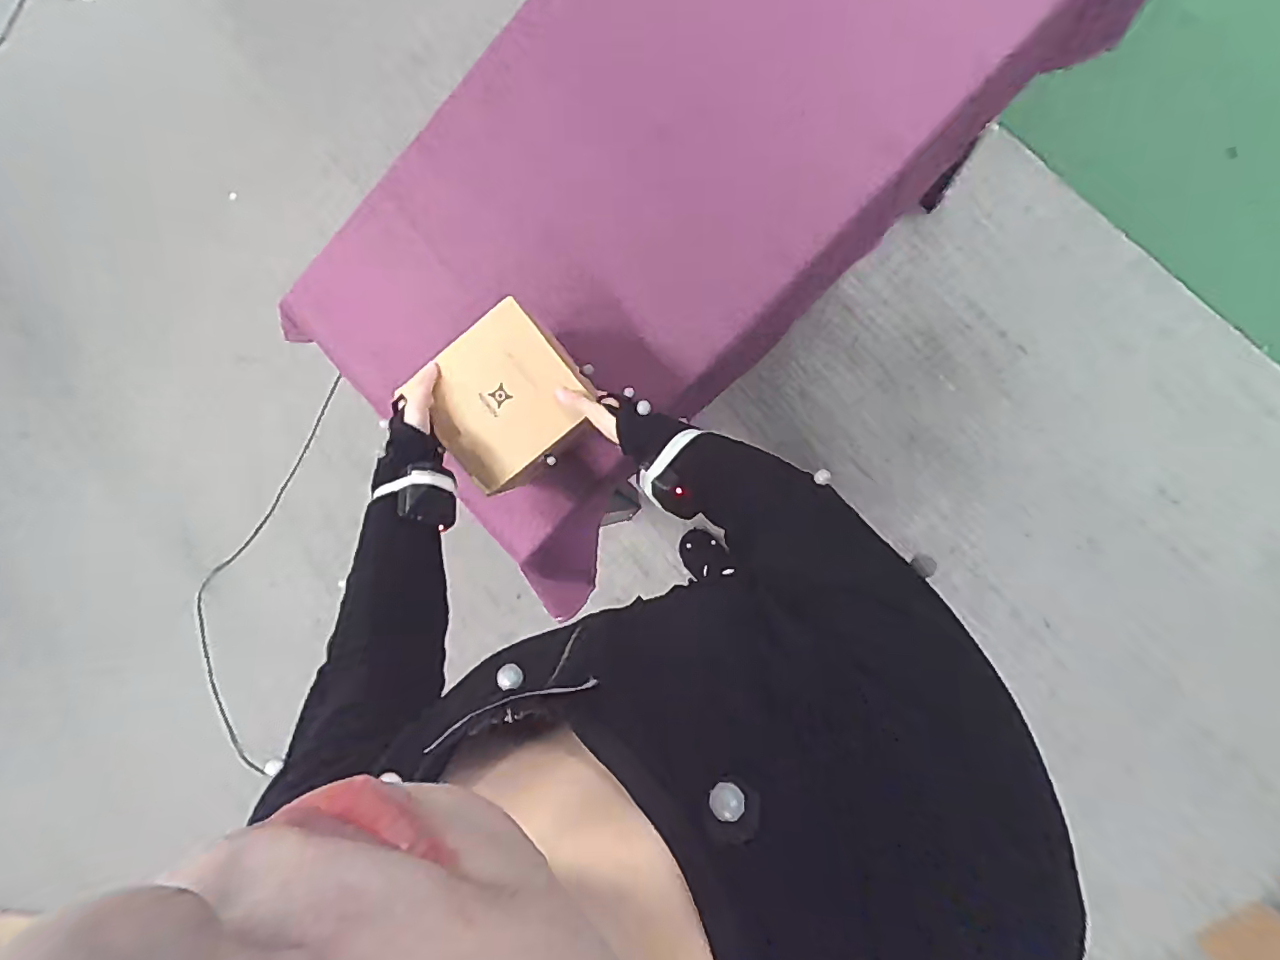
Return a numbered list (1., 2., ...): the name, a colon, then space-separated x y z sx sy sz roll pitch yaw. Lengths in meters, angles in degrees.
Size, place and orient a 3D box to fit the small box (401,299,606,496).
1. small box: -0.163 -0.102 0.710 0.179 0.176 0.168 -37 94 6
